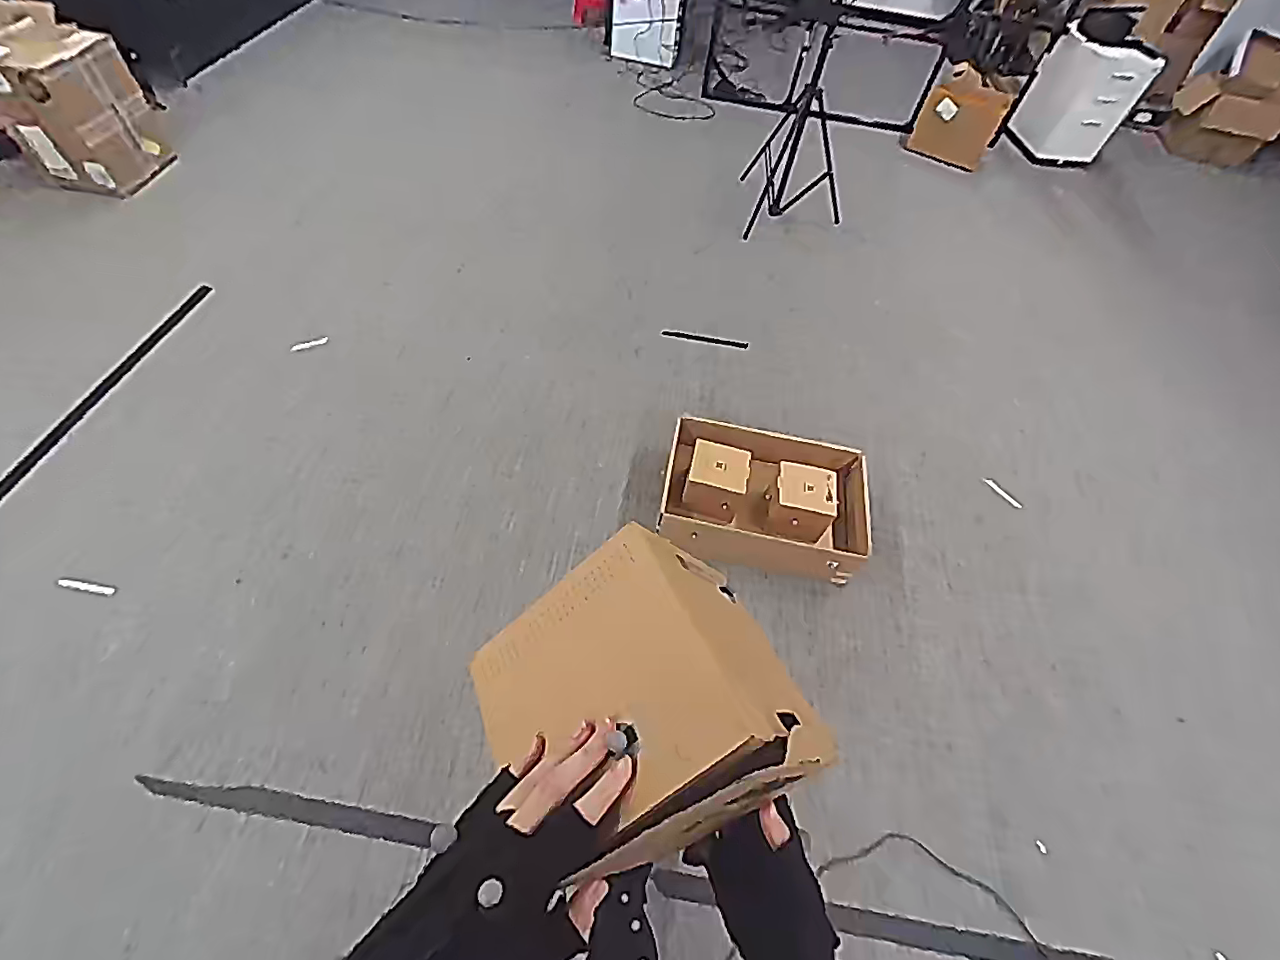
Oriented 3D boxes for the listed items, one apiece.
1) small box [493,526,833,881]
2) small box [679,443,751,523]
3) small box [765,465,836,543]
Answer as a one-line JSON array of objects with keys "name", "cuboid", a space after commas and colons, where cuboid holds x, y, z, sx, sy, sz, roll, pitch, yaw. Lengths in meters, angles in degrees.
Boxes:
[{"name": "small box", "cuboid": [0.012, 0.164, 0.423, 0.179, 0.168, 0.176, -41, 50, 11]}, {"name": "small box", "cuboid": [0.234, 0.015, 1.696, 0.179, 0.176, 0.168, 14, 54, 3]}, {"name": "small box", "cuboid": [0.494, 0.078, 1.683, 0.179, 0.176, 0.168, 11, 55, 3]}]
